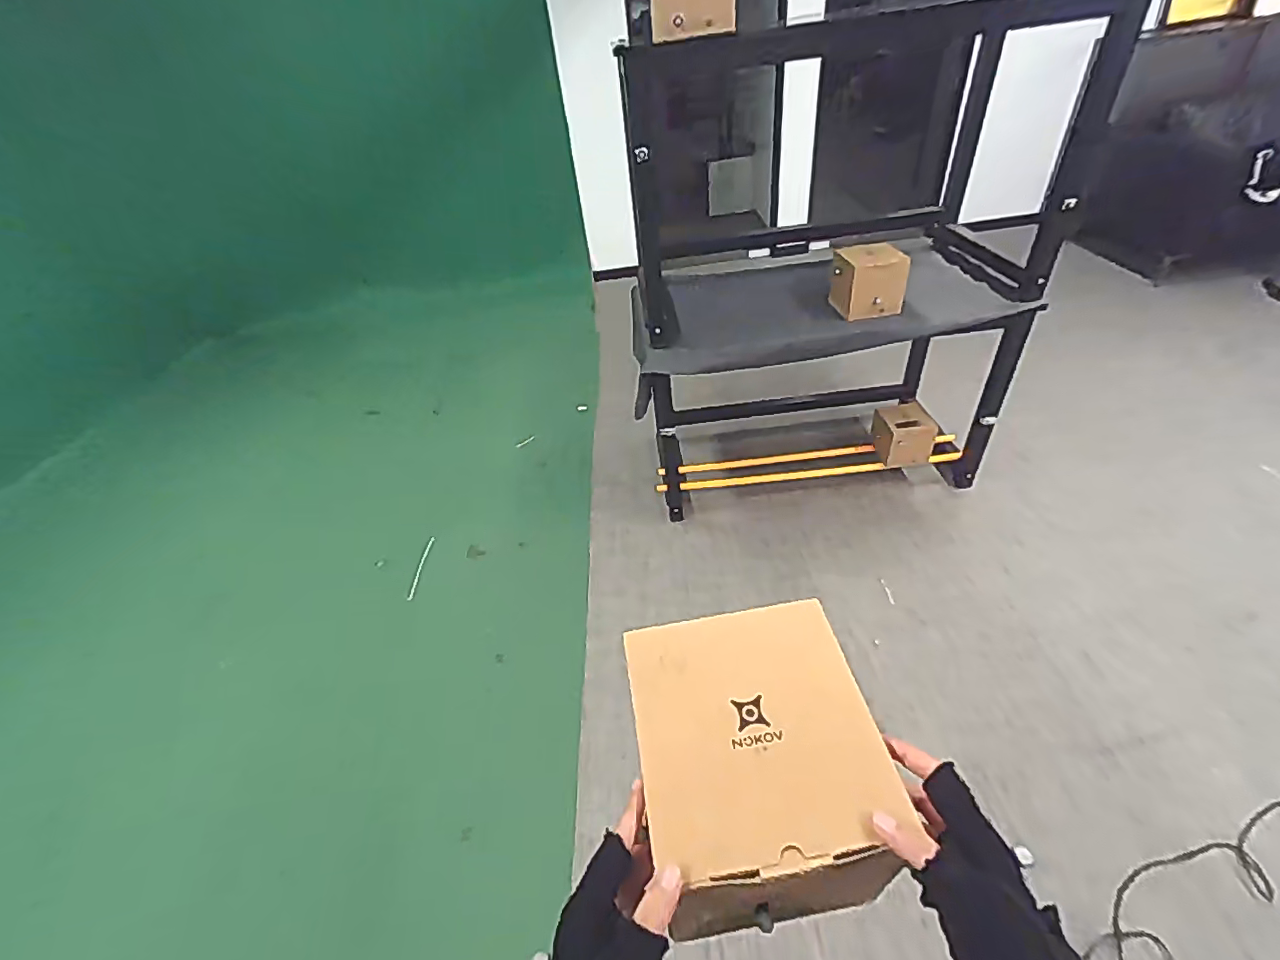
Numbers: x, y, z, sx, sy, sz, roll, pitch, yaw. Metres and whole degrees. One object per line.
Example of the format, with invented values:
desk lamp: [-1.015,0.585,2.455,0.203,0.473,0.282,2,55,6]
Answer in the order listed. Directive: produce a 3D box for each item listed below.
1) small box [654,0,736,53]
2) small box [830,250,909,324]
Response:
small box: [0.126,-1.113,1.257,0.168,0.176,0.179,-9,38,-2]
small box: [0.710,-0.605,1.697,0.168,0.176,0.179,-8,38,0]
